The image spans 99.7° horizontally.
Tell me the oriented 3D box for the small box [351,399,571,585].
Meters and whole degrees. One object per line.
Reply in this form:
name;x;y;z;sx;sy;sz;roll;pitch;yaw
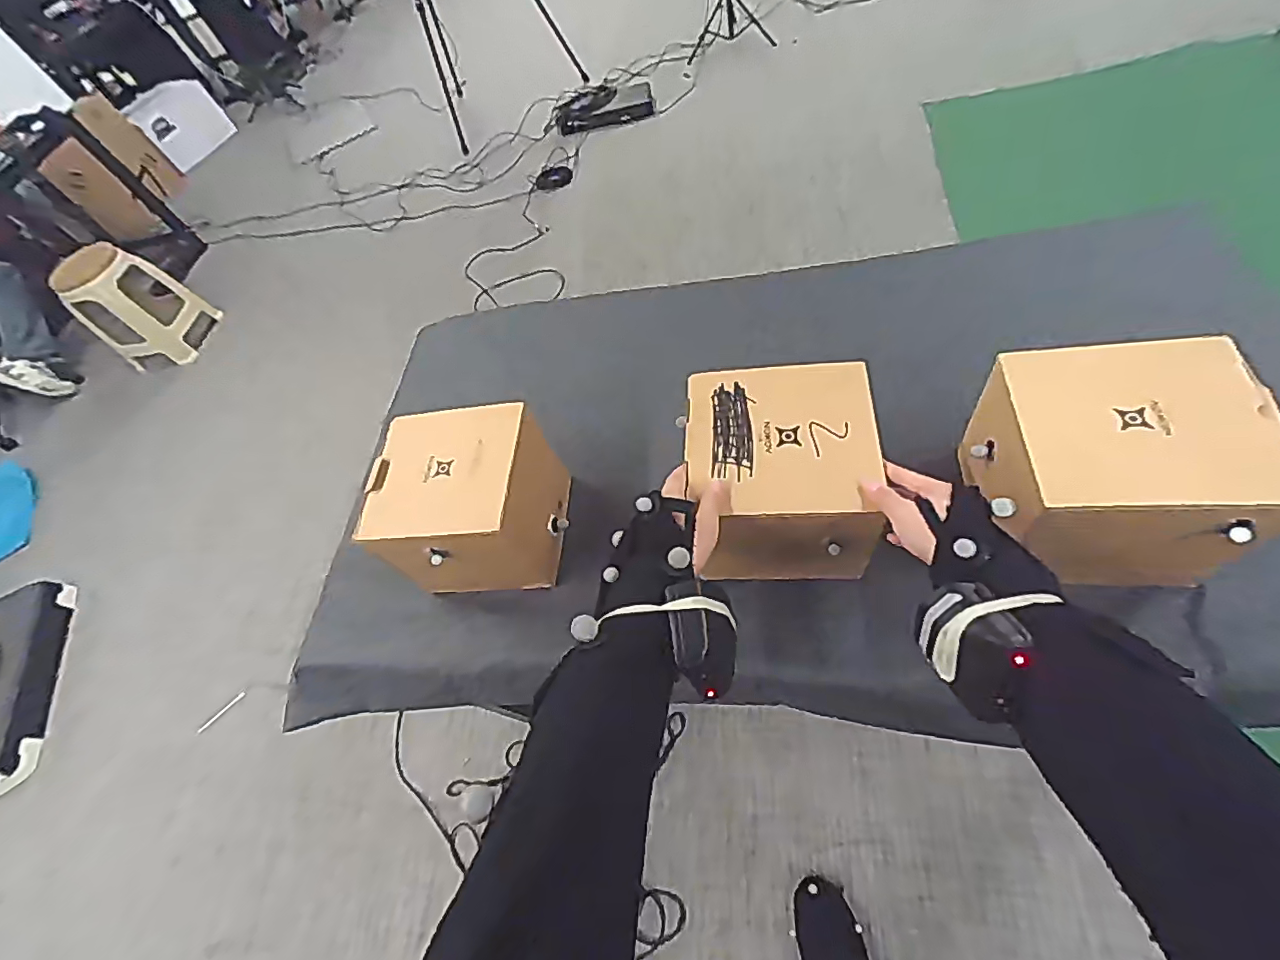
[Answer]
small box;-0.201;0.024;0.660;0.179;0.176;0.168;-4;59;12

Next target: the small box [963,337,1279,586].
small box;0.422;-0.007;0.504;0.179;0.176;0.168;-2;59;15
